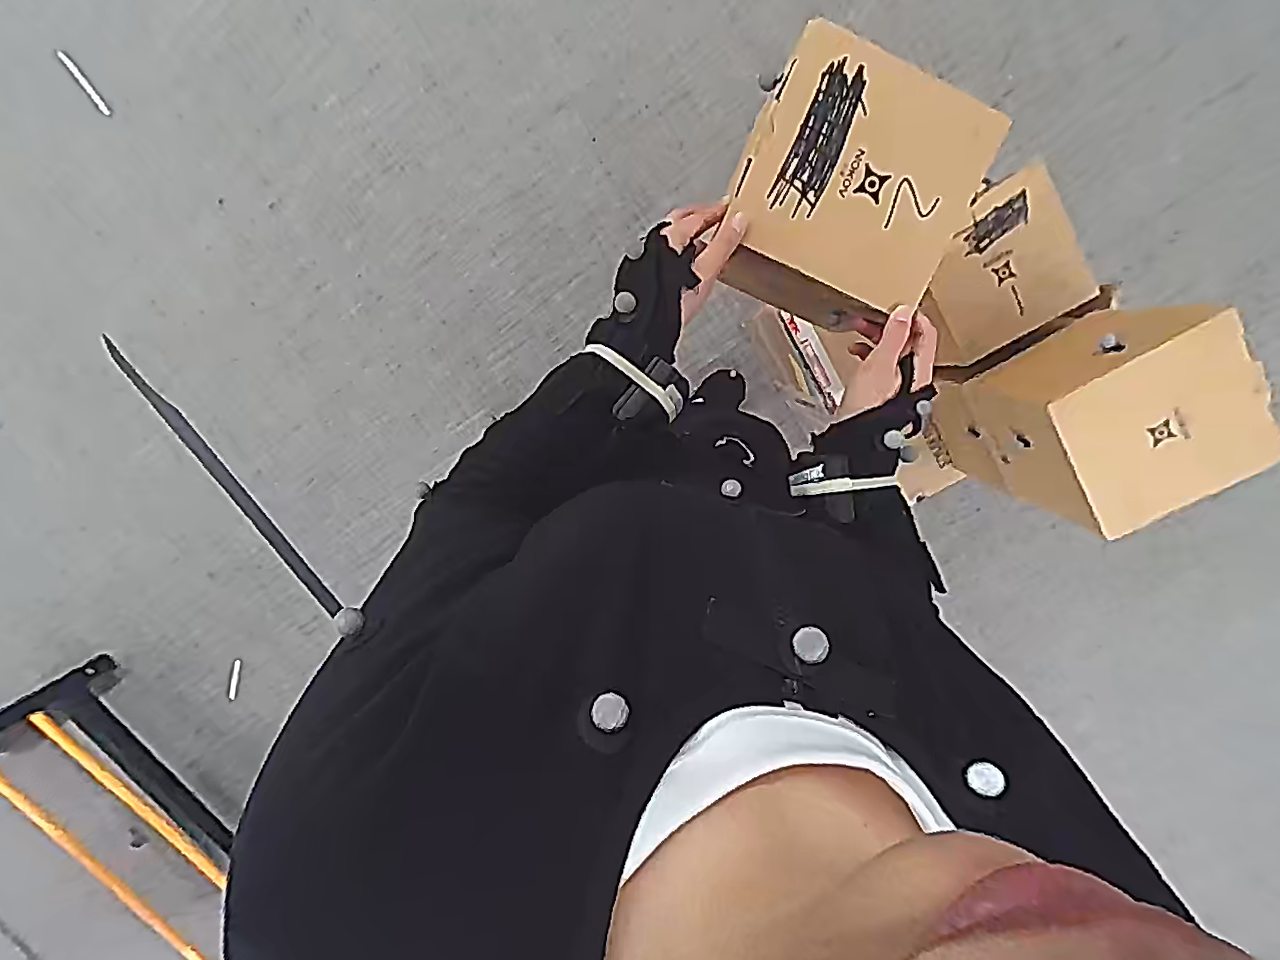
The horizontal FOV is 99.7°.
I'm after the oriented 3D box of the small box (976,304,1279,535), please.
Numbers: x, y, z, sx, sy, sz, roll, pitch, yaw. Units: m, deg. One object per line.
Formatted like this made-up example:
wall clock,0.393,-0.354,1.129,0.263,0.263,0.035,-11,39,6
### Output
small box,0.510,-0.070,0.594,0.179,0.176,0.168,-31,101,10
